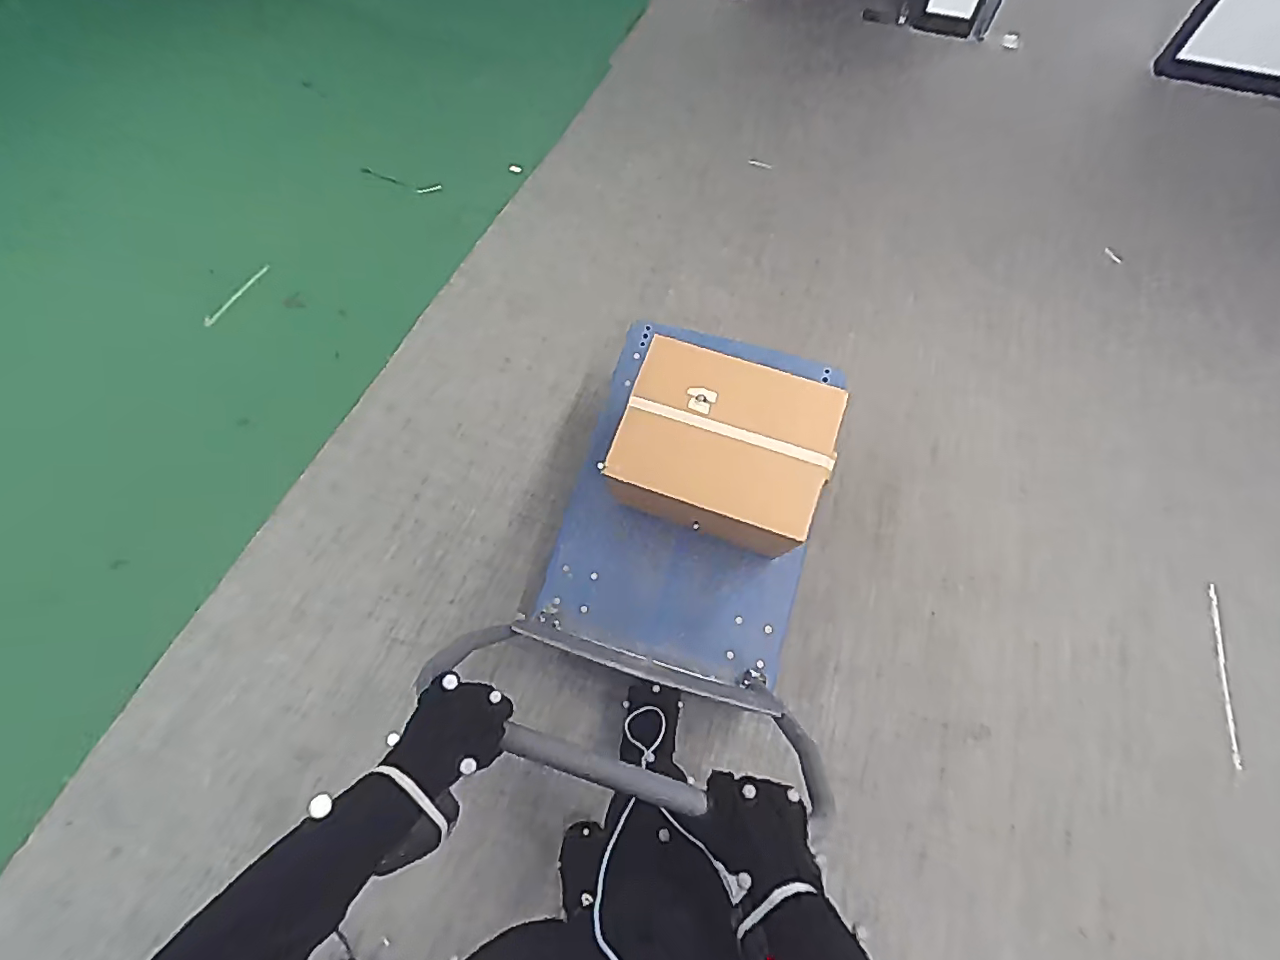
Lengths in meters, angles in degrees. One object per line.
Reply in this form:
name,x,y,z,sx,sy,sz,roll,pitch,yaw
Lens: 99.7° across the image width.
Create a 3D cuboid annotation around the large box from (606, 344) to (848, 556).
large box,0.183,-0.047,1.184,0.408,0.320,0.320,18,78,9
